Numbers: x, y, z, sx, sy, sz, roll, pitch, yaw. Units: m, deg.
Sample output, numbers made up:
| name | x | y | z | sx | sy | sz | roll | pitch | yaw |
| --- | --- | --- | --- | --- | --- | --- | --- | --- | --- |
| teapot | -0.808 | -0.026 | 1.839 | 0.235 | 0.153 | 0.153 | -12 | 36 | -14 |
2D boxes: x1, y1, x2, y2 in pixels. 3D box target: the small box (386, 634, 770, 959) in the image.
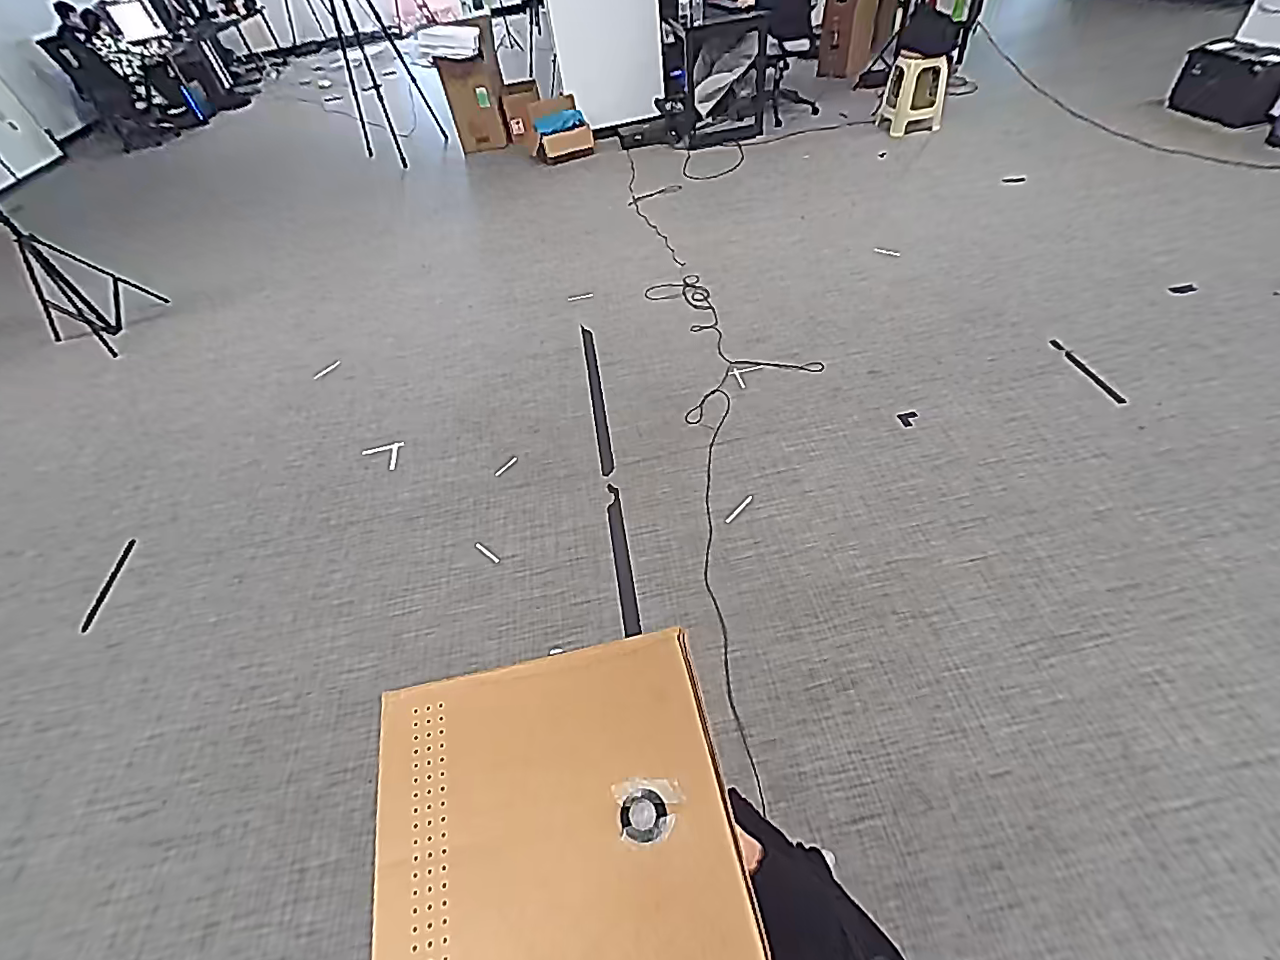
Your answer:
| name | x | y | z | sx | sy | sz | roll | pitch | yaw |
| --- | --- | --- | --- | --- | --- | --- | --- | --- | --- |
| small box | -0.036 | 0.217 | 0.324 | 0.176 | 0.168 | 0.179 | -12 | 58 | -4 |
